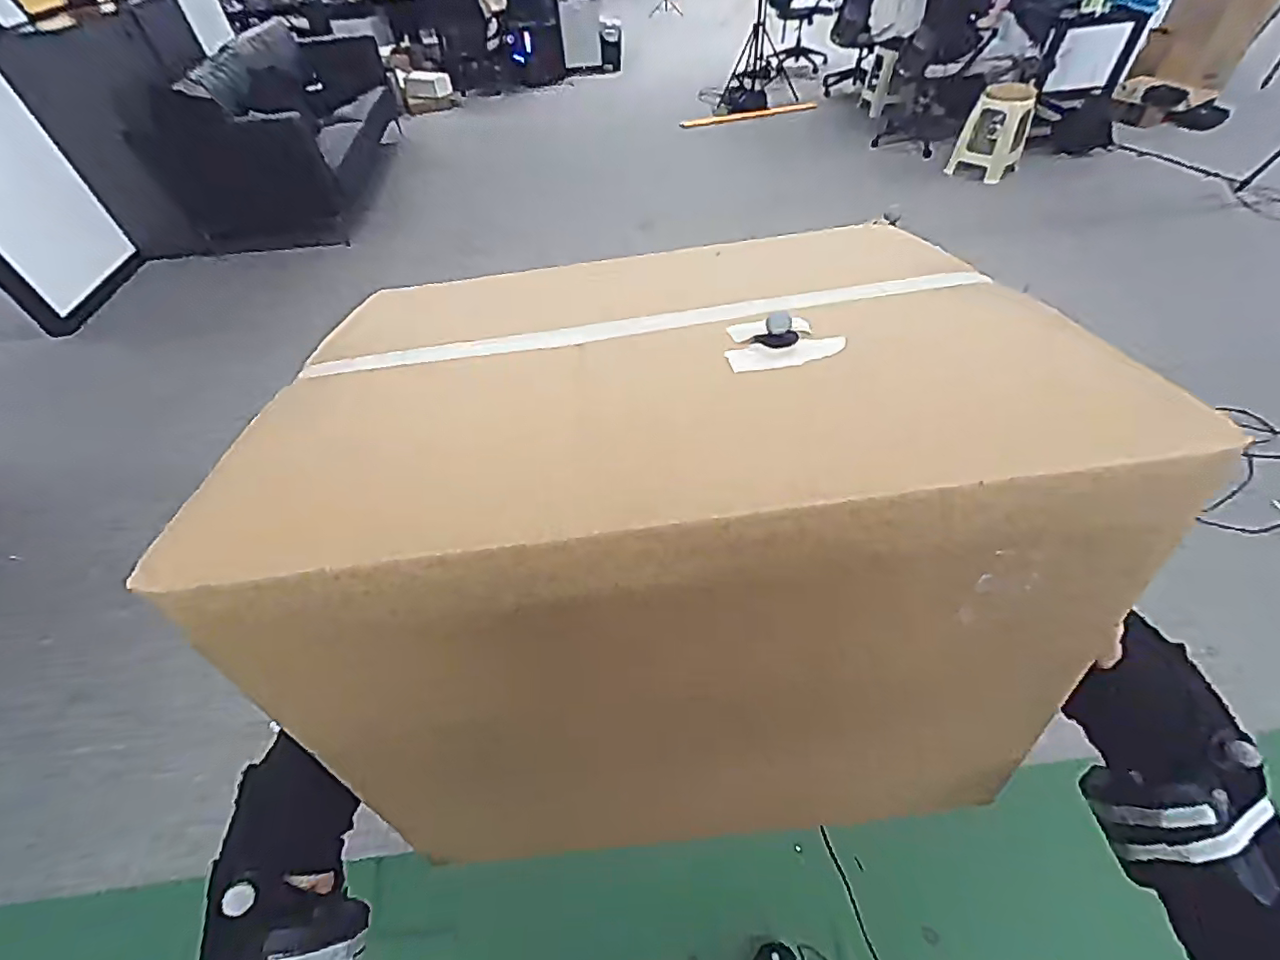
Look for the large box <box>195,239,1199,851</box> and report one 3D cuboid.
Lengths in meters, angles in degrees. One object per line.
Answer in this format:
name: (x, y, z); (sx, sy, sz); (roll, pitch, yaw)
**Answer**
large box: (0.025, 0.038, 0.416); (0.408, 0.320, 0.320); (-7, 39, 1)
